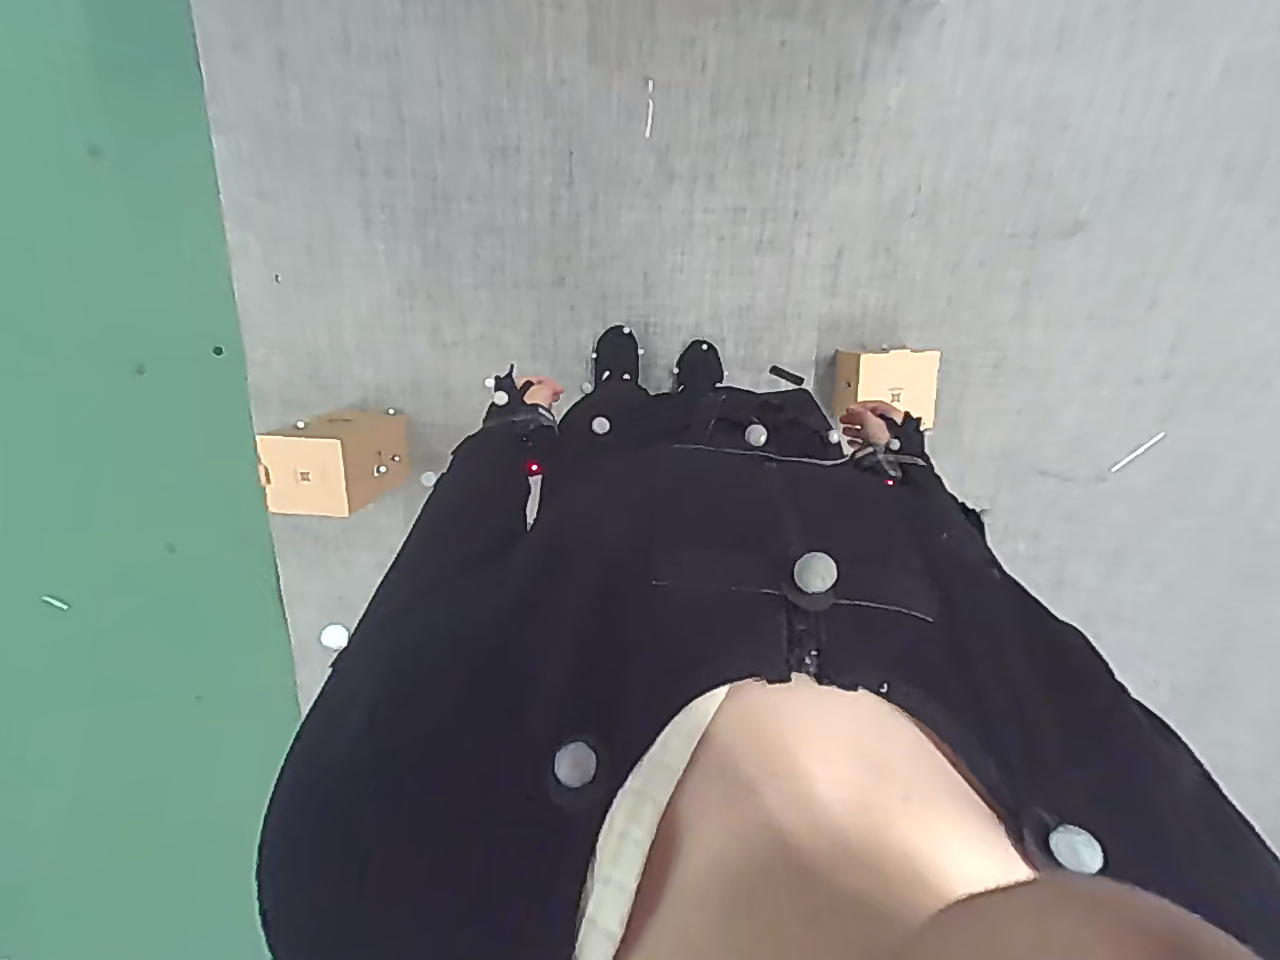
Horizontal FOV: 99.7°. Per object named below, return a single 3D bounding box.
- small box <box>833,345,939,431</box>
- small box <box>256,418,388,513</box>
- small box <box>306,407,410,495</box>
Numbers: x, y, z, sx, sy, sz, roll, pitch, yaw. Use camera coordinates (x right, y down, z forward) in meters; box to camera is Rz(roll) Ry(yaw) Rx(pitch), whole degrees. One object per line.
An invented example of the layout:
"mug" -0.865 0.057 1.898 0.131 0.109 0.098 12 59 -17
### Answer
"small box" 0.543 -0.211 1.218 0.168 0.176 0.179 -2 105 3
"small box" -0.671 -0.037 1.160 0.179 0.176 0.168 2 107 2
"small box" -0.677 -0.078 1.318 0.168 0.176 0.179 6 107 2
